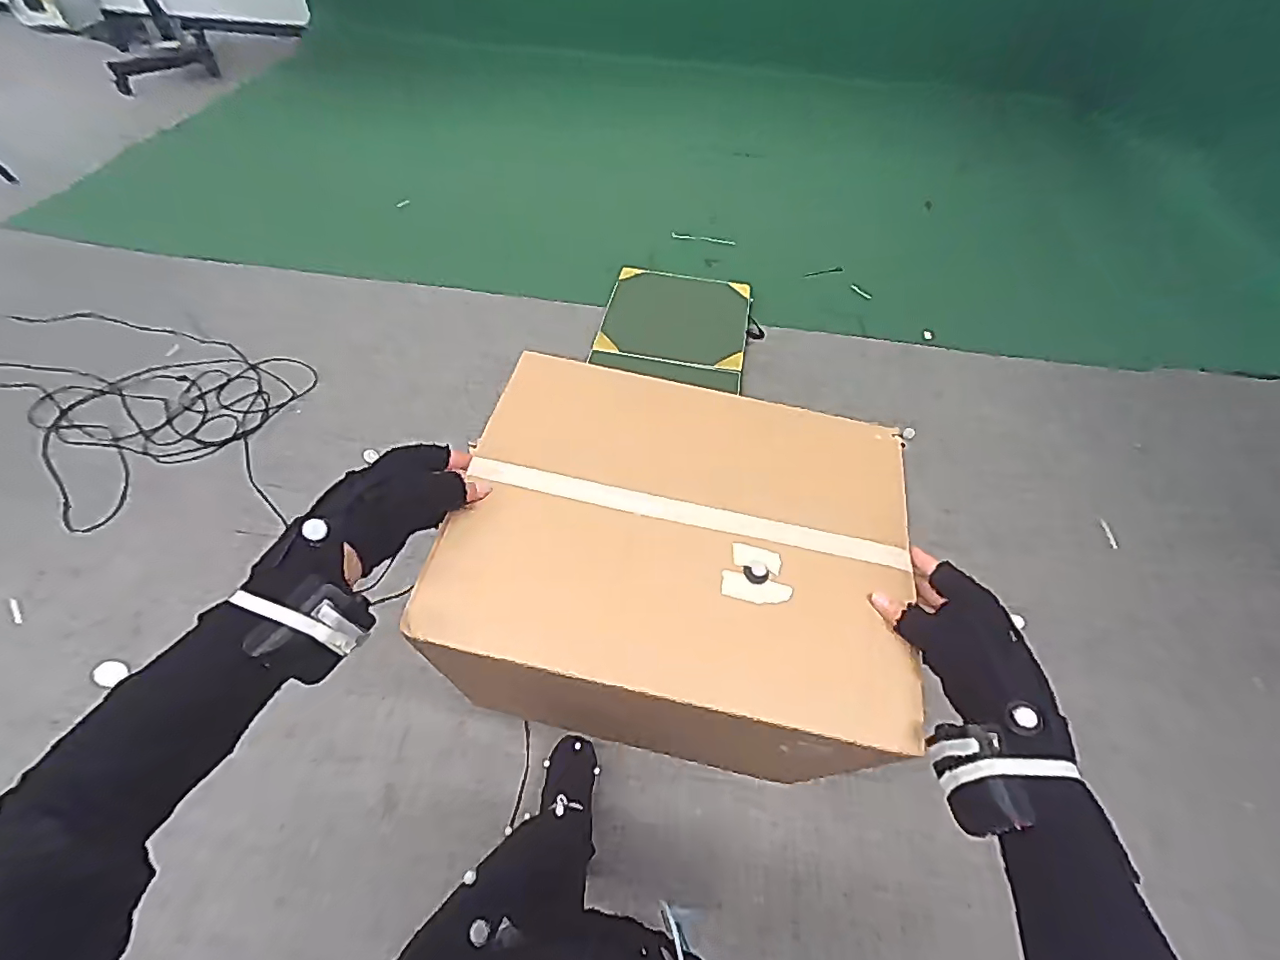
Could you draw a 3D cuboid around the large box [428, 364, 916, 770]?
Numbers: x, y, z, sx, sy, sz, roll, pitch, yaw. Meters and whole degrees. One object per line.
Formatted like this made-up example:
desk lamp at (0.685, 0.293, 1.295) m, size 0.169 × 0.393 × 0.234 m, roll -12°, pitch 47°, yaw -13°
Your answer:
large box at (0.034, 0.115, 0.629) m, size 0.408 × 0.320 × 0.320 m, roll 13°, pitch 58°, yaw 2°
